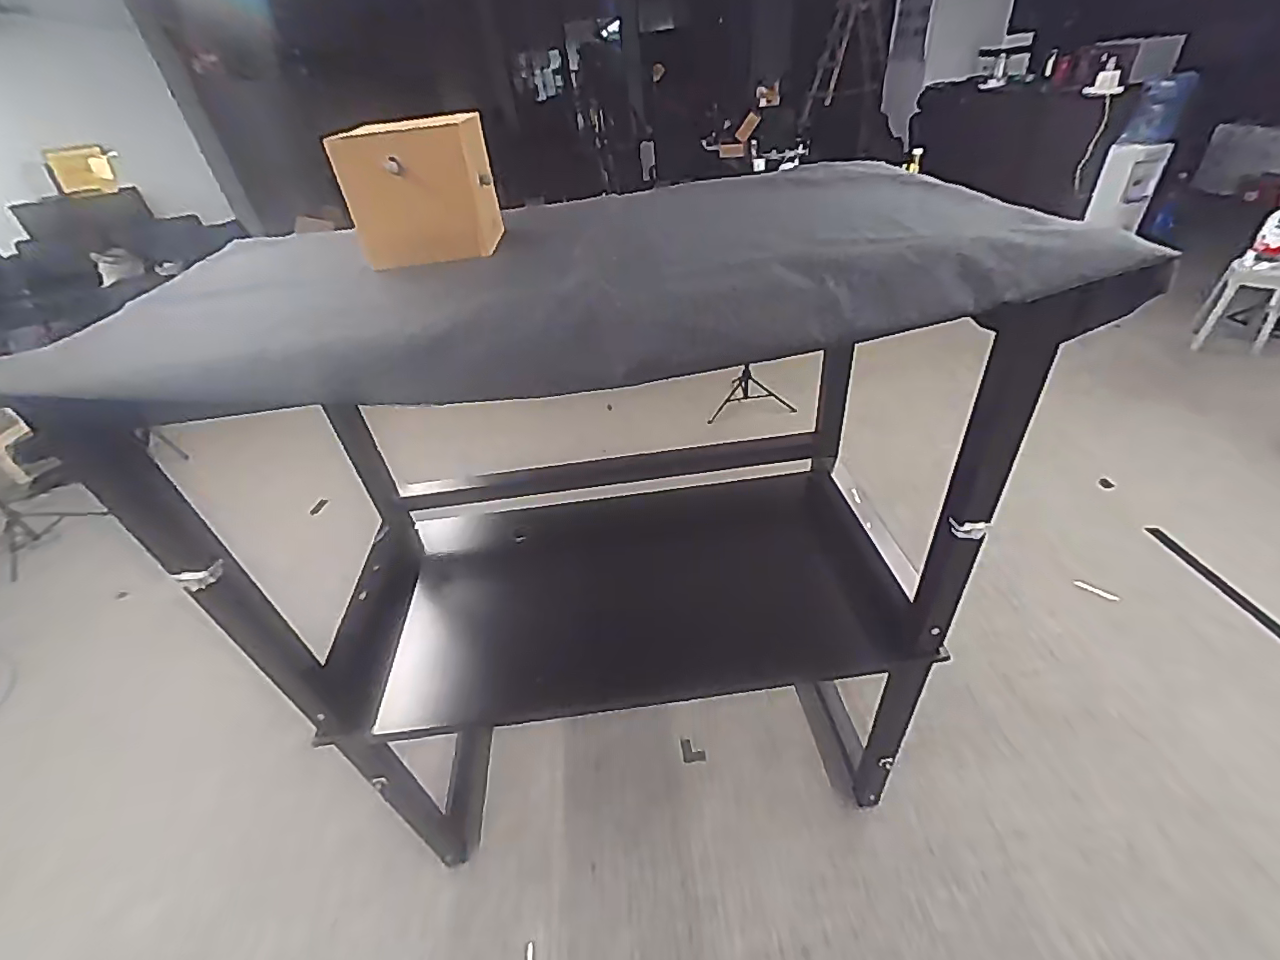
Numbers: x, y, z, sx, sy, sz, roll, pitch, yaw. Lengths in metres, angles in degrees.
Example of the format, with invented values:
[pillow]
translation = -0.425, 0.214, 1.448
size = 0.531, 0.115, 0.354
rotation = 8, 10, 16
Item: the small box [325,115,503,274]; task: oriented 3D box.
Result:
[small box]
translation = -0.311, -0.419, 0.795
size = 0.179, 0.176, 0.168
rotation = -7, 38, 0
